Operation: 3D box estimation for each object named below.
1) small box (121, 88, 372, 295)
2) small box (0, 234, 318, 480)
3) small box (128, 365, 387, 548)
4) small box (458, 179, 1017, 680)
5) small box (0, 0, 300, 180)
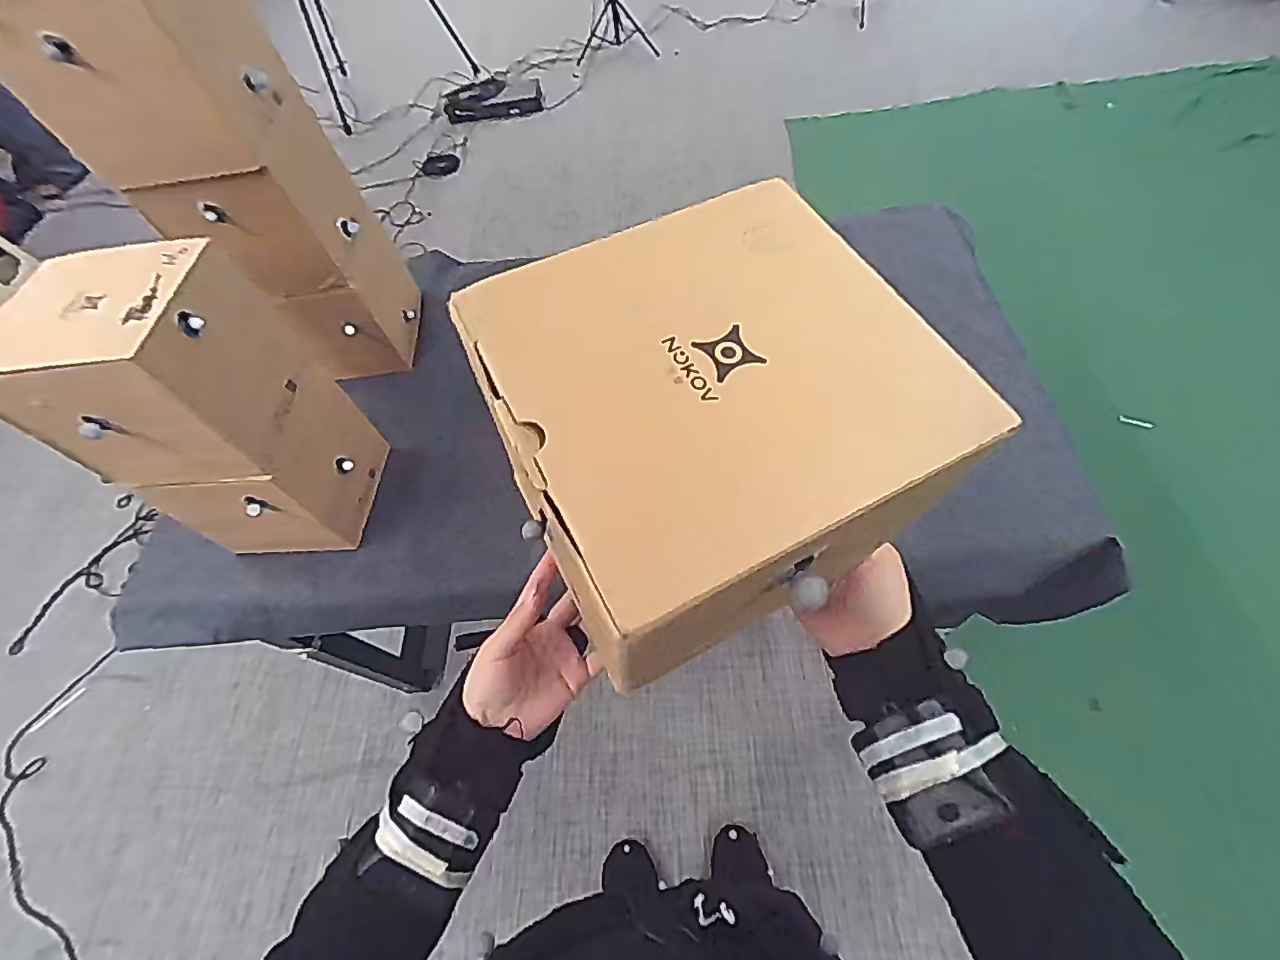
[{"bbox_3d":[-0.481,-0.359,0.694,0.179,0.176,0.168,-7,62,2],"label":"small box"},{"bbox_3d":[-0.475,-0.113,0.544,0.179,0.176,0.168,-6,57,5],"label":"small box"},{"bbox_3d":[-0.453,-0.023,0.679,0.179,0.176,0.168,-3,57,6],"label":"small box"},{"bbox_3d":[0.033,-0.014,0.291,0.179,0.176,0.168,-27,67,-13],"label":"small box"},{"bbox_3d":[-0.495,-0.432,0.547,0.179,0.176,0.168,-5,61,3],"label":"small box"}]
